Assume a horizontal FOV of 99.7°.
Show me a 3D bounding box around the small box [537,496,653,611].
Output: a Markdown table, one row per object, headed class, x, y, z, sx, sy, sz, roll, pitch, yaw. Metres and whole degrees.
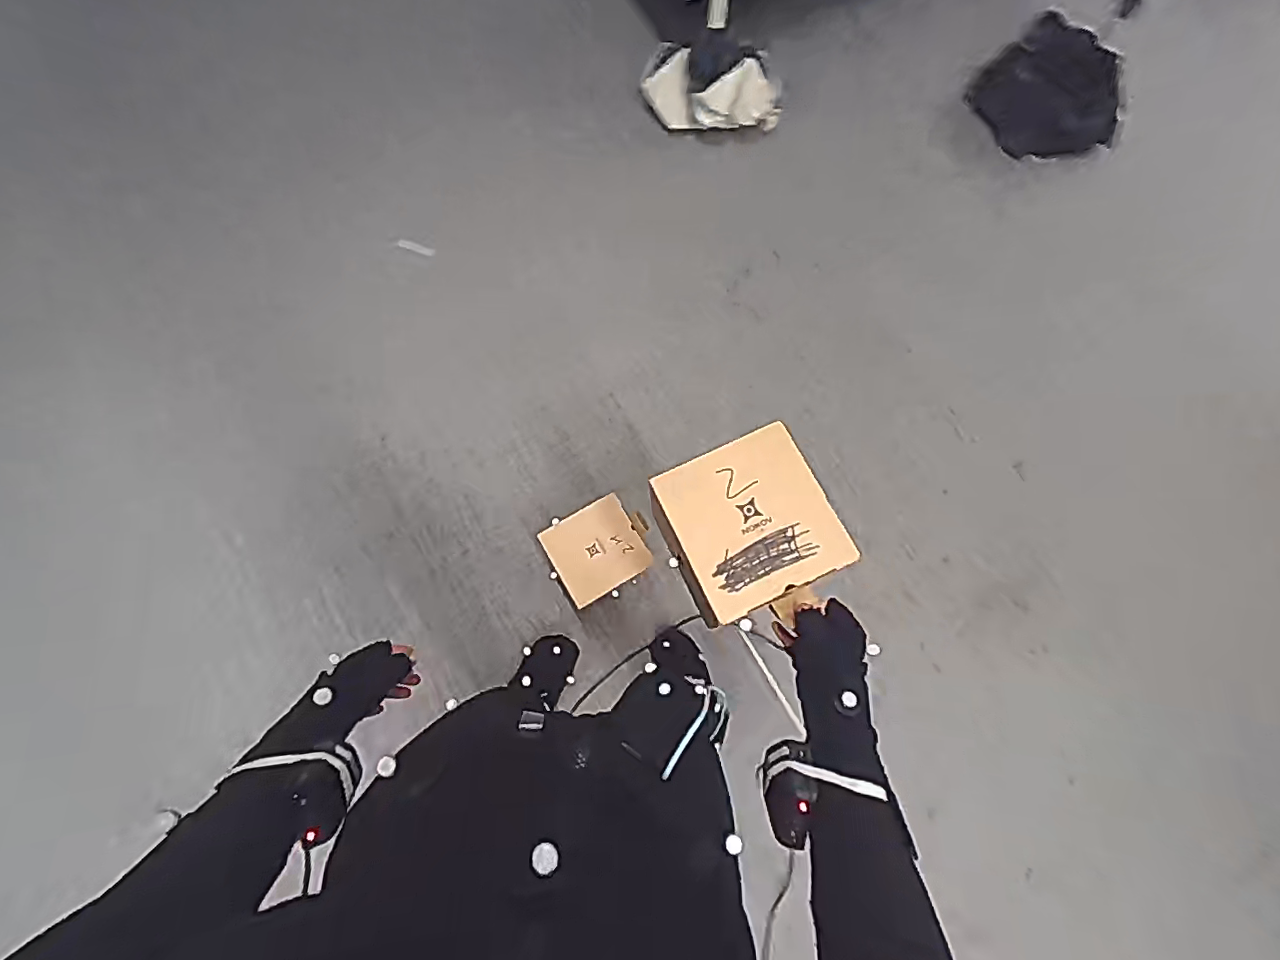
| class | x | y | z | sx | sy | sz | roll | pitch | yaw |
| --- | --- | --- | --- | --- | --- | --- | --- | --- | --- |
| small box | -0.093 | 0.159 | 1.118 | 0.179 | 0.176 | 0.168 | -29 | 81 | -12 |
